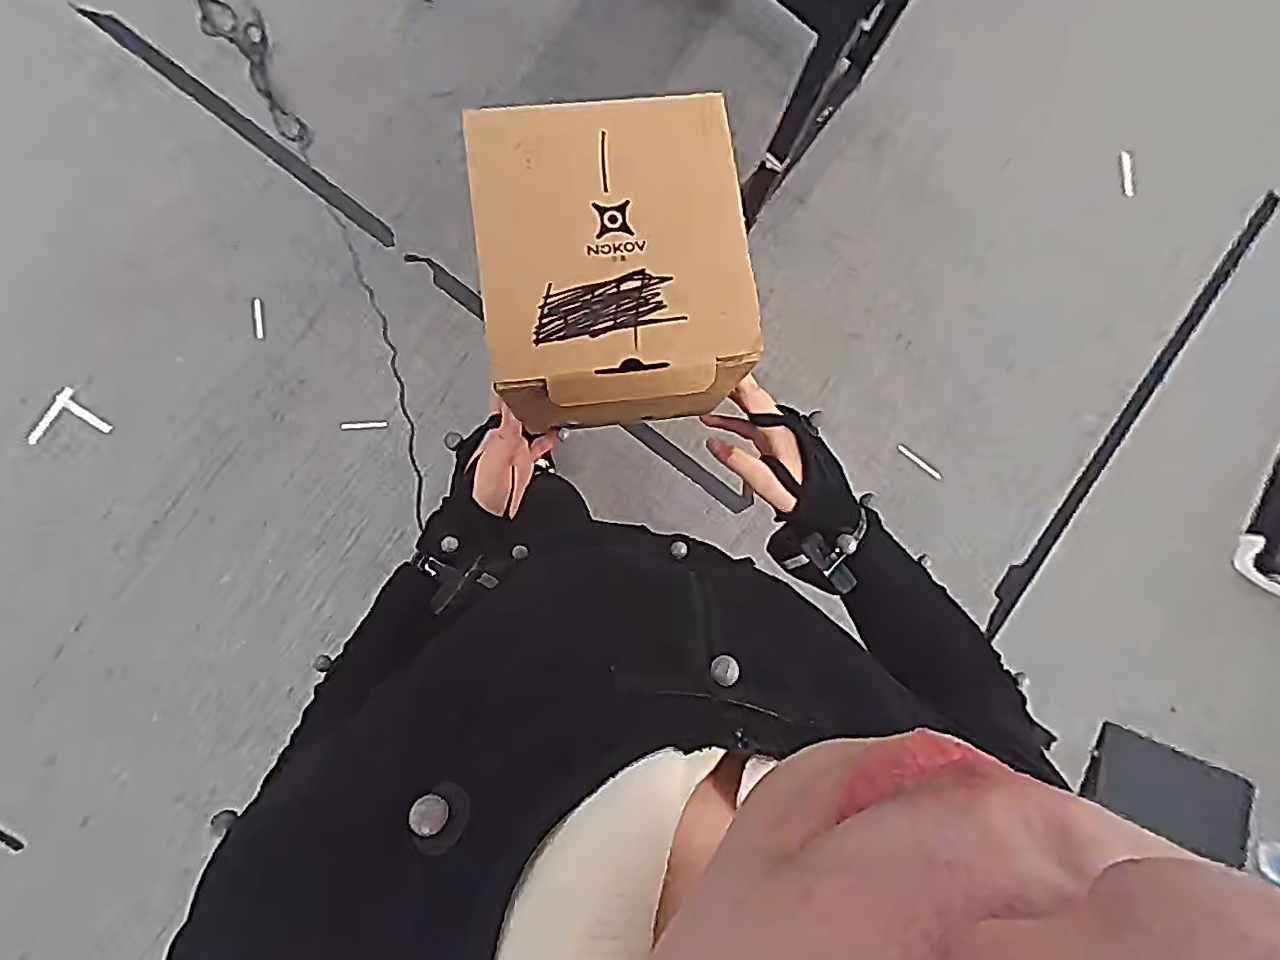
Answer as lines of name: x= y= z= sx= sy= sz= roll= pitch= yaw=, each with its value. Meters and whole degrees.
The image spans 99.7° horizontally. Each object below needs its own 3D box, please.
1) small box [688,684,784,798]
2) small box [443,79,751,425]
small box: x=0.242 y=0.675 z=1.420 sx=0.168 sy=0.176 sz=0.179 roll=40 pitch=86 yaw=-3
small box: x=-0.030 y=-0.143 z=0.399 sx=0.168 sy=0.176 sz=0.179 roll=-8 pitch=85 yaw=-5
